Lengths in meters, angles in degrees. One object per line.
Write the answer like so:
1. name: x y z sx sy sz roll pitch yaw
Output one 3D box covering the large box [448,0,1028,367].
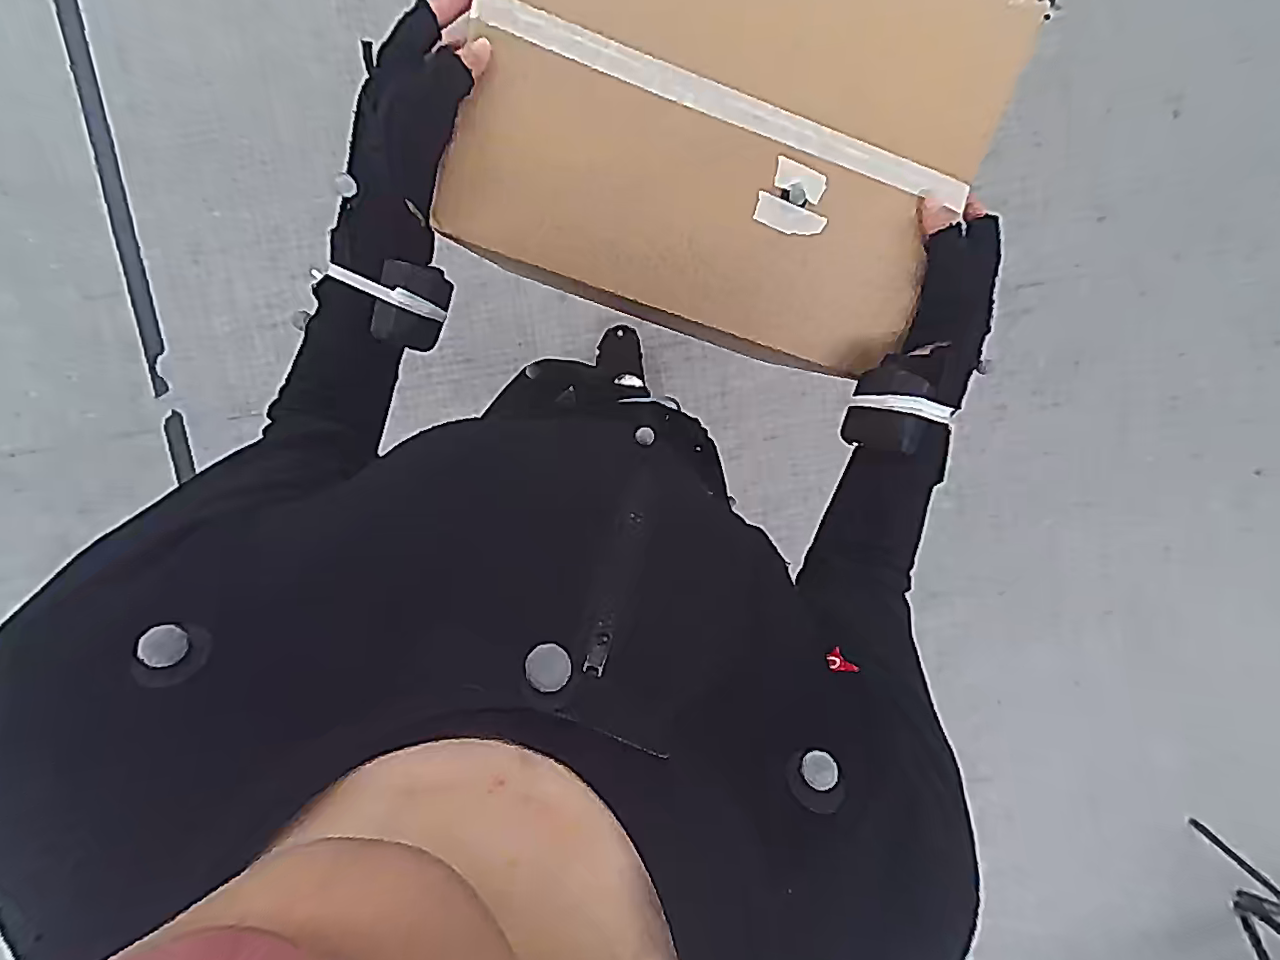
1. large box: 0.062 -0.336 0.573 0.408 0.320 0.320 17 105 -9
